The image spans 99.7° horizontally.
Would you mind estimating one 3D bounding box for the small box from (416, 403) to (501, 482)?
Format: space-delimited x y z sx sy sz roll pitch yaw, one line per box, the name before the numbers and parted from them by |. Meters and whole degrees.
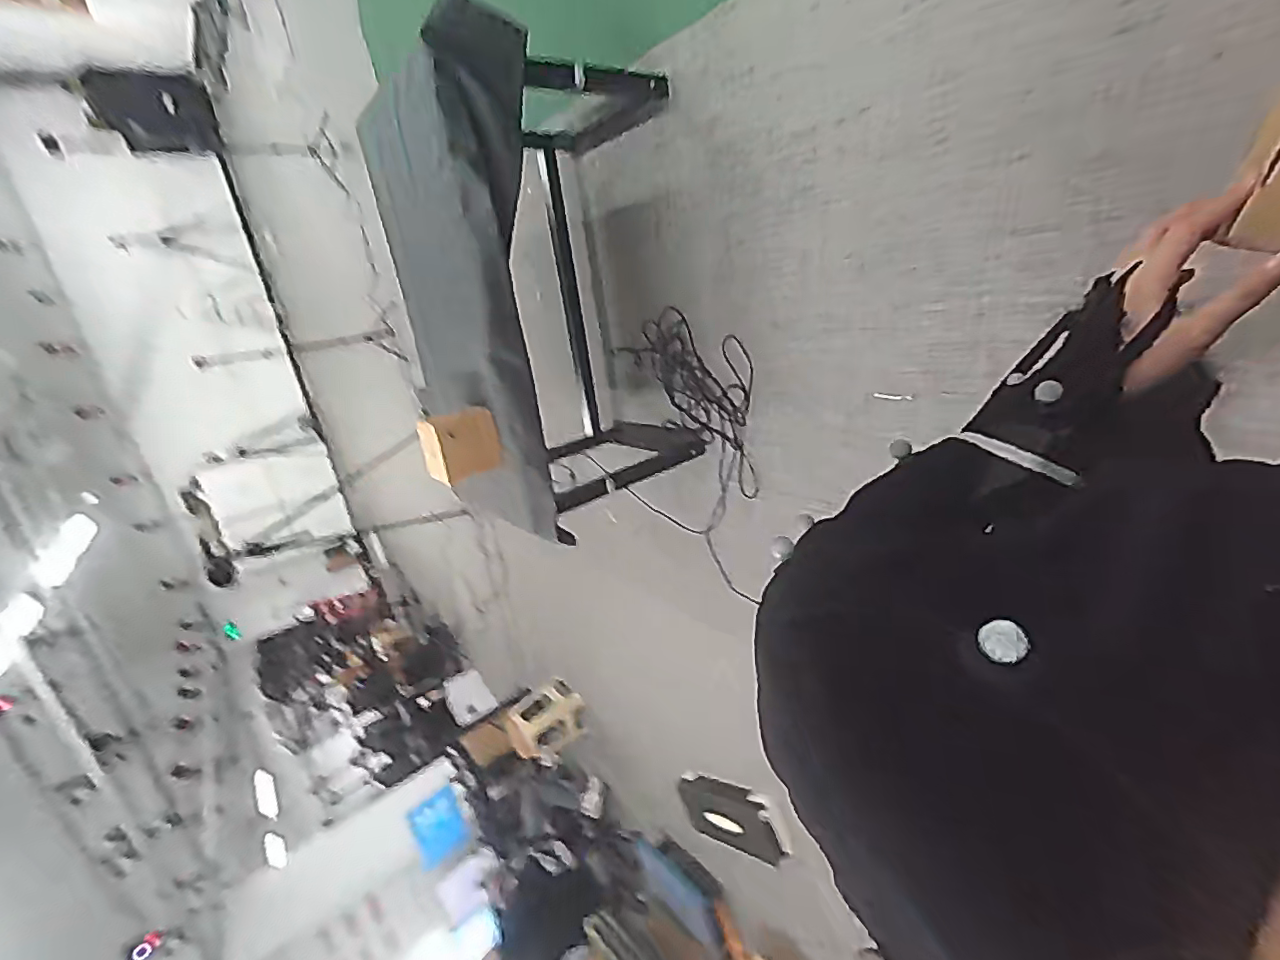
small box | -0.516 -0.114 1.552 0.168 0.176 0.179 16 120 50
